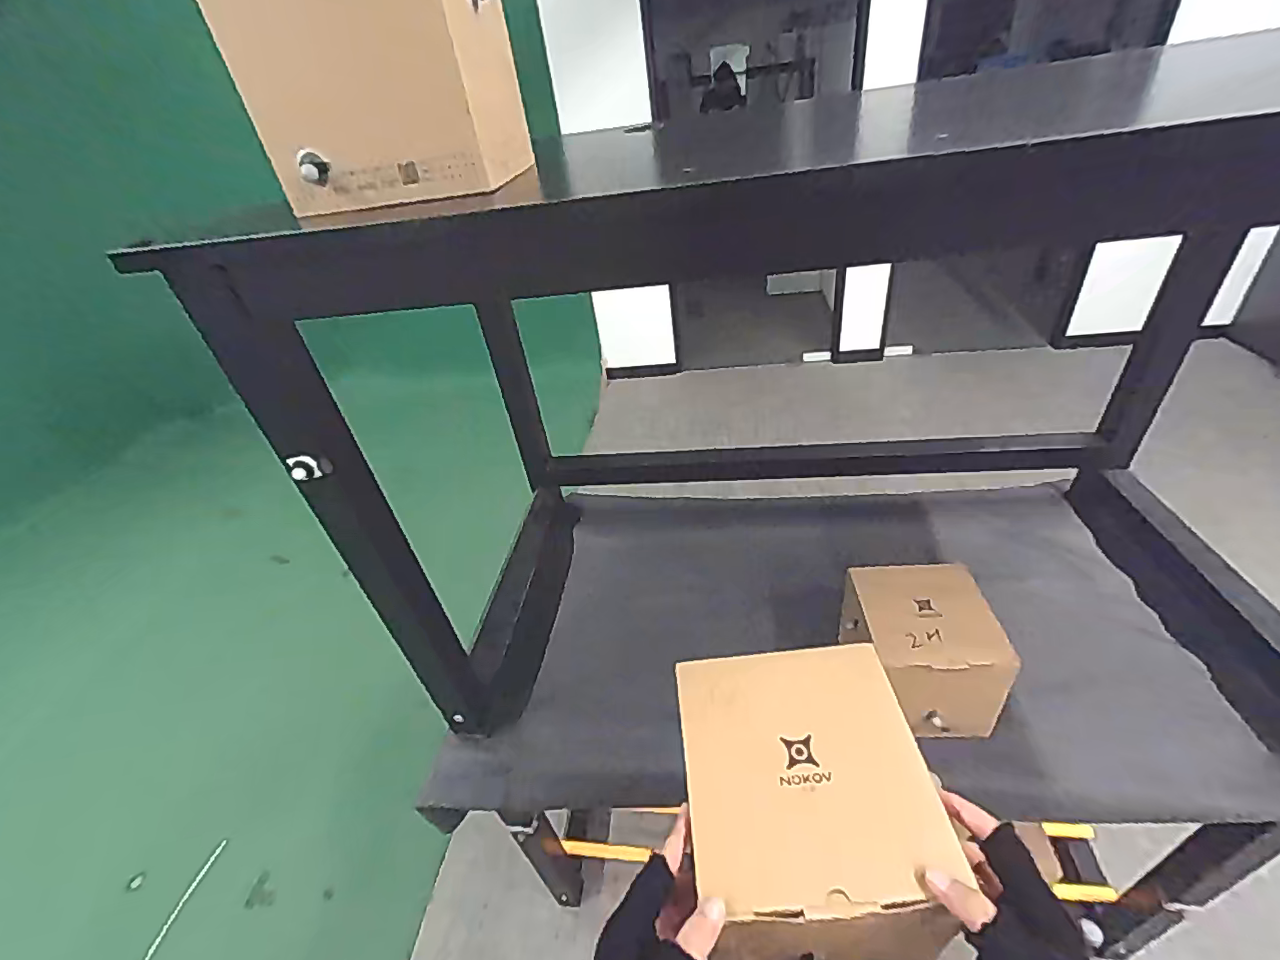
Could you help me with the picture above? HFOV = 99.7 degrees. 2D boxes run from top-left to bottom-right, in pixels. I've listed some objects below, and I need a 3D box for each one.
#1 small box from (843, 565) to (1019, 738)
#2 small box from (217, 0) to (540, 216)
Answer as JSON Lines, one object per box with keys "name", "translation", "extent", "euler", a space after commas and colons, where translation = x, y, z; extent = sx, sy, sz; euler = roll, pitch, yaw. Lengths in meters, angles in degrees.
{"name": "small box", "translation": [0.402, 0.245, 0.786], "extent": [0.168, 0.176, 0.179], "euler": [-4, 35, 8]}
{"name": "small box", "translation": [-0.192, -0.330, 0.456], "extent": [0.168, 0.176, 0.179], "euler": [-4, 35, 5]}
